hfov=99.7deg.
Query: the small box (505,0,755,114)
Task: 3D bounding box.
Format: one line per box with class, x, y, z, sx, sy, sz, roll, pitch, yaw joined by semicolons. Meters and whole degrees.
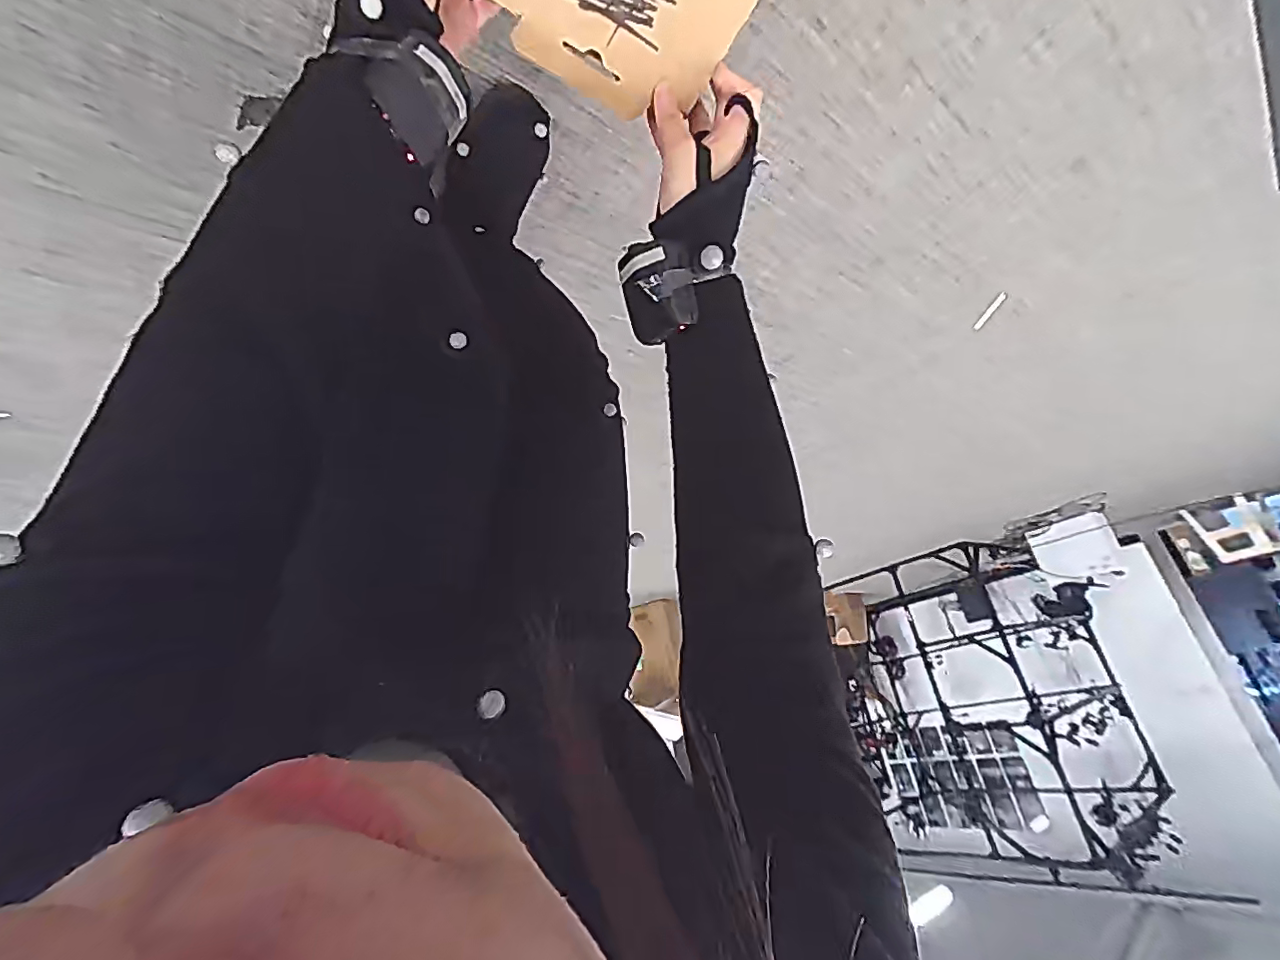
small box;-0.009;-0.387;0.330;0.168;0.176;0.179;5;144;-38
